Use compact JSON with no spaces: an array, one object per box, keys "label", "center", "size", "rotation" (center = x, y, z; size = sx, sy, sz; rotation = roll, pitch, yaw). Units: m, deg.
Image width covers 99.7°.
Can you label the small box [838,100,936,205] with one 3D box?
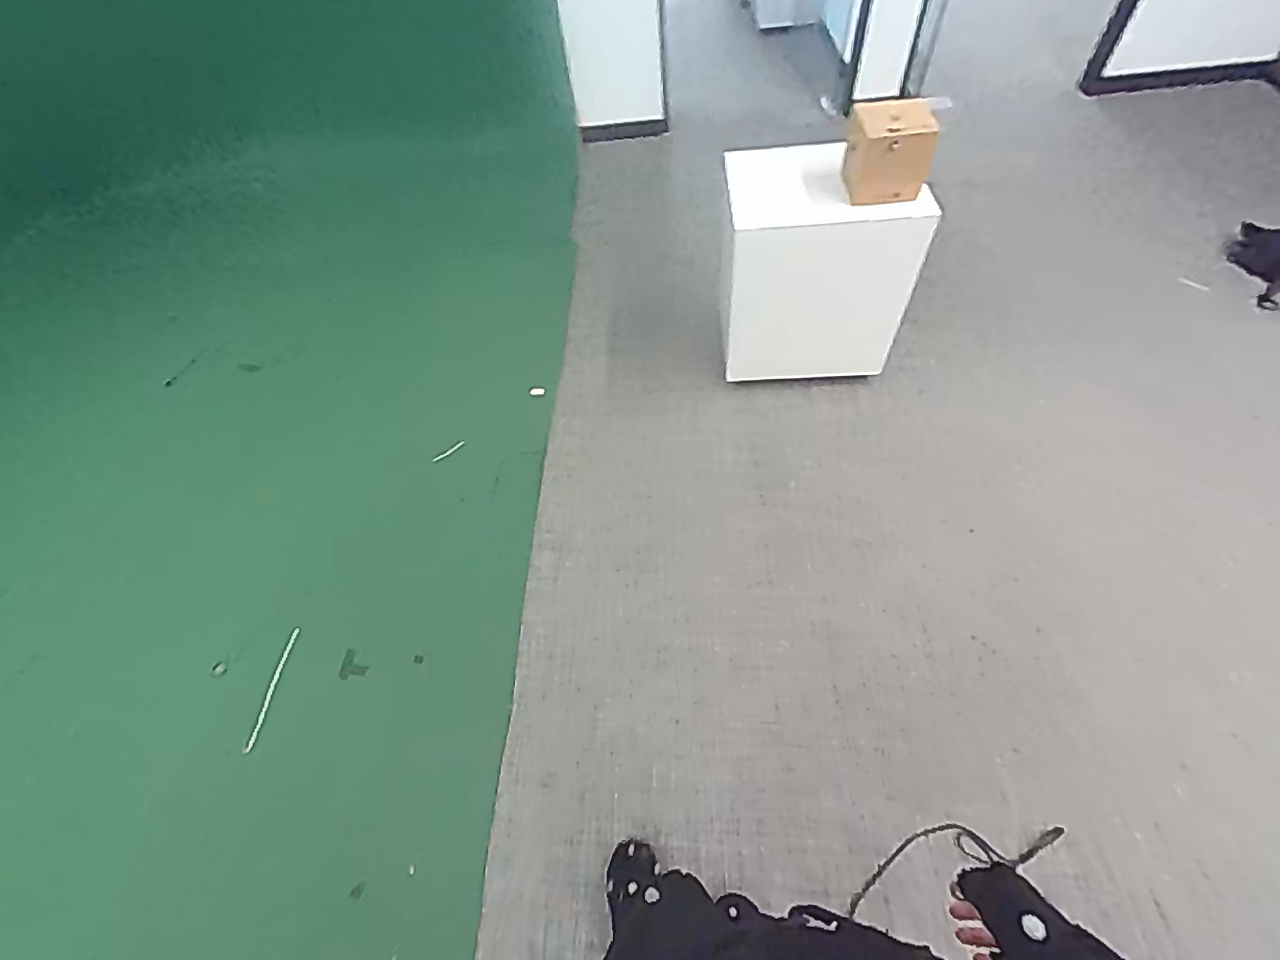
[{"label":"small box","center":[0.612,-0.824,1.366],"size":[0.168,0.176,0.179],"rotation":[-3,55,6]}]
